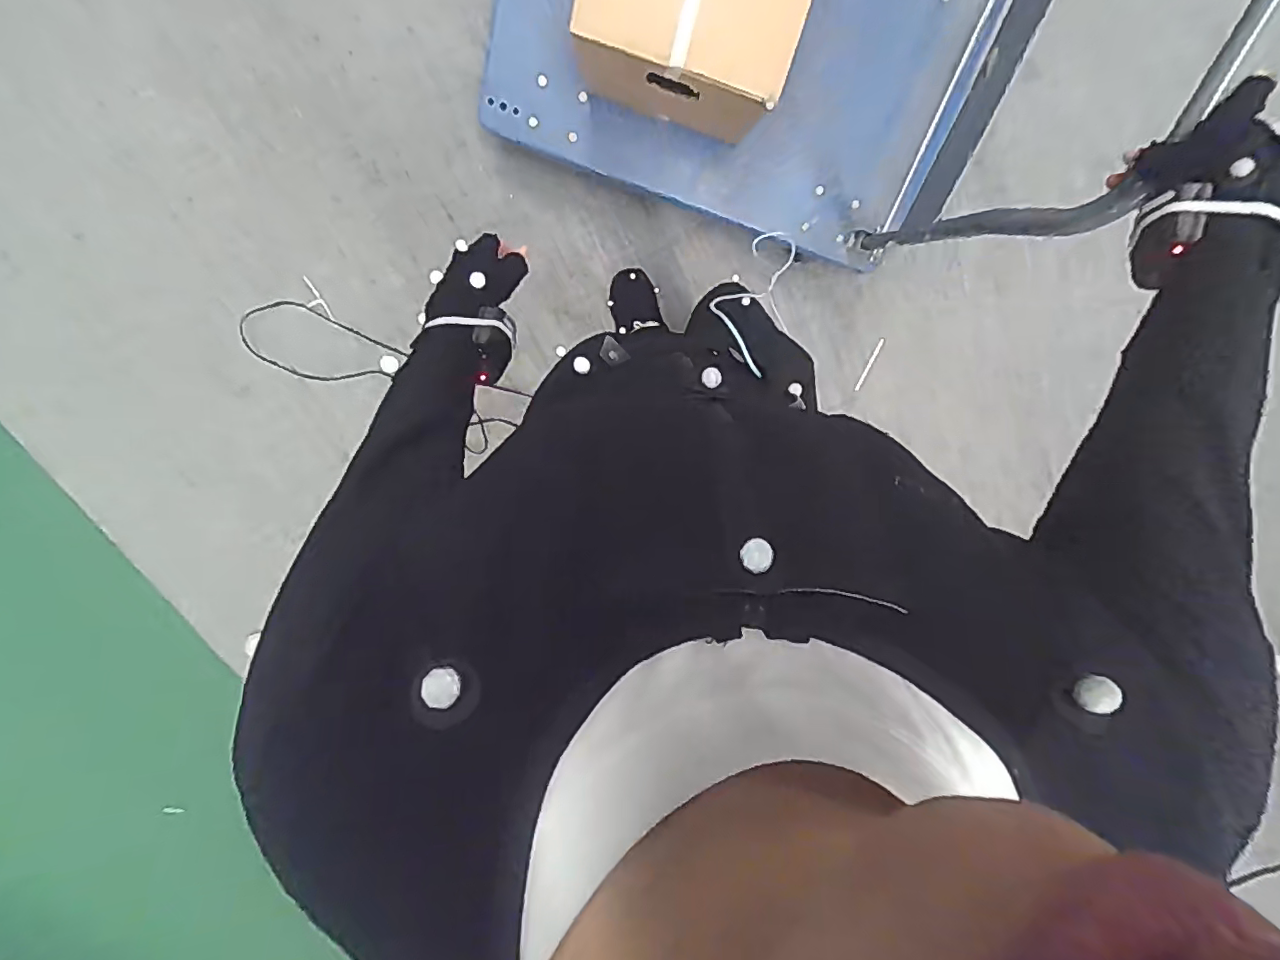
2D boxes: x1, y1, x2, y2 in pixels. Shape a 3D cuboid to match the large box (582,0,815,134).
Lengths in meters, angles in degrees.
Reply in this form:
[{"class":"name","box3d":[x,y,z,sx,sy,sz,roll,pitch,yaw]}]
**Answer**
[{"class":"large box","box3d":[0.111,-0.827,0.833,0.320,0.320,0.408,14,113,-5]}]
